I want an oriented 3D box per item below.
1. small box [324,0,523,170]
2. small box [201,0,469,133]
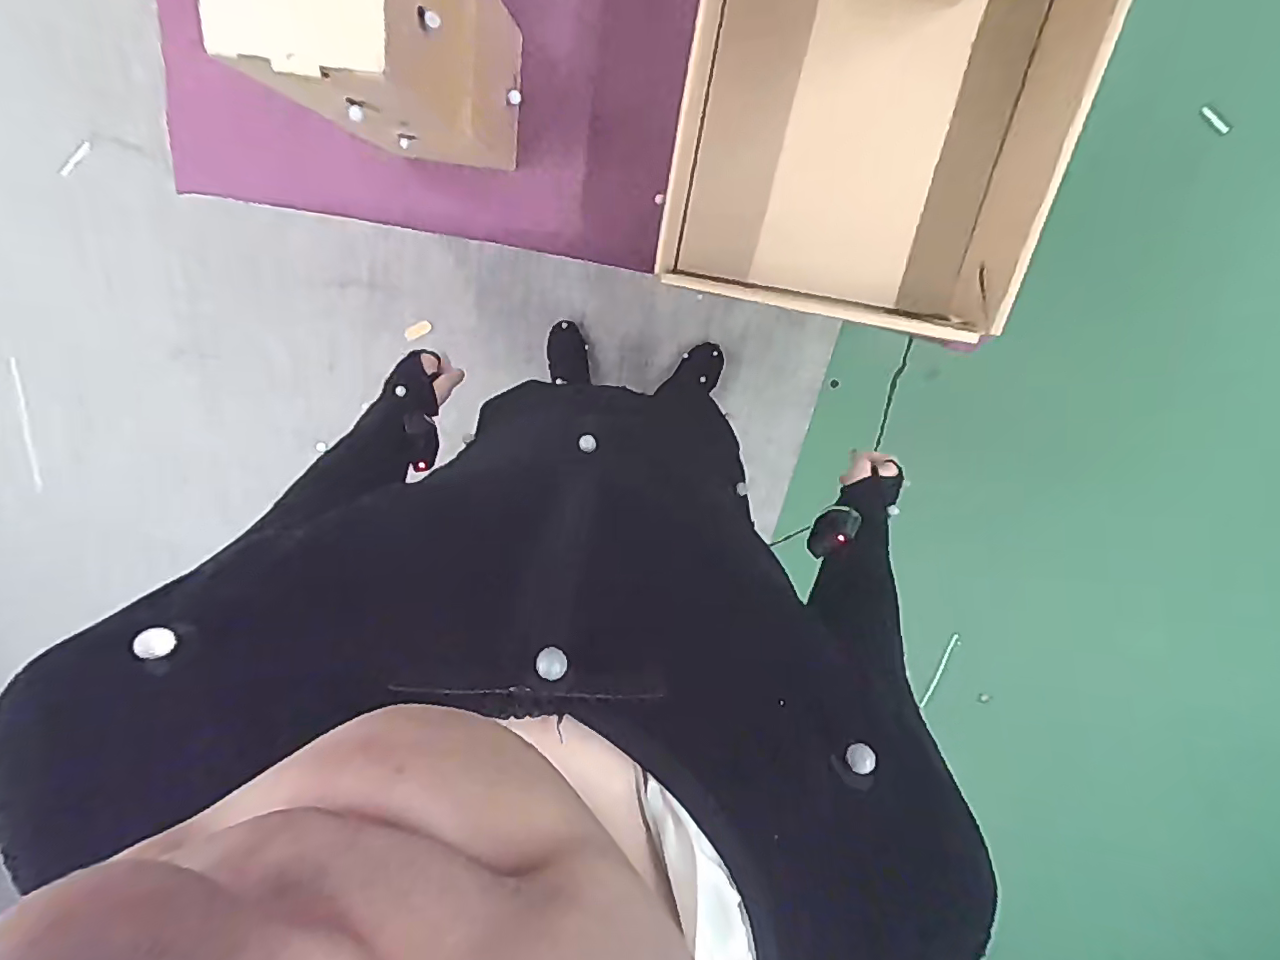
[{"bbox_3d":[-0.260,-0.501,0.670,0.179,0.176,0.168,9,108,3],"label":"small box"},{"bbox_3d":[-0.274,-0.457,0.514,0.168,0.176,0.179,10,109,2],"label":"small box"}]
